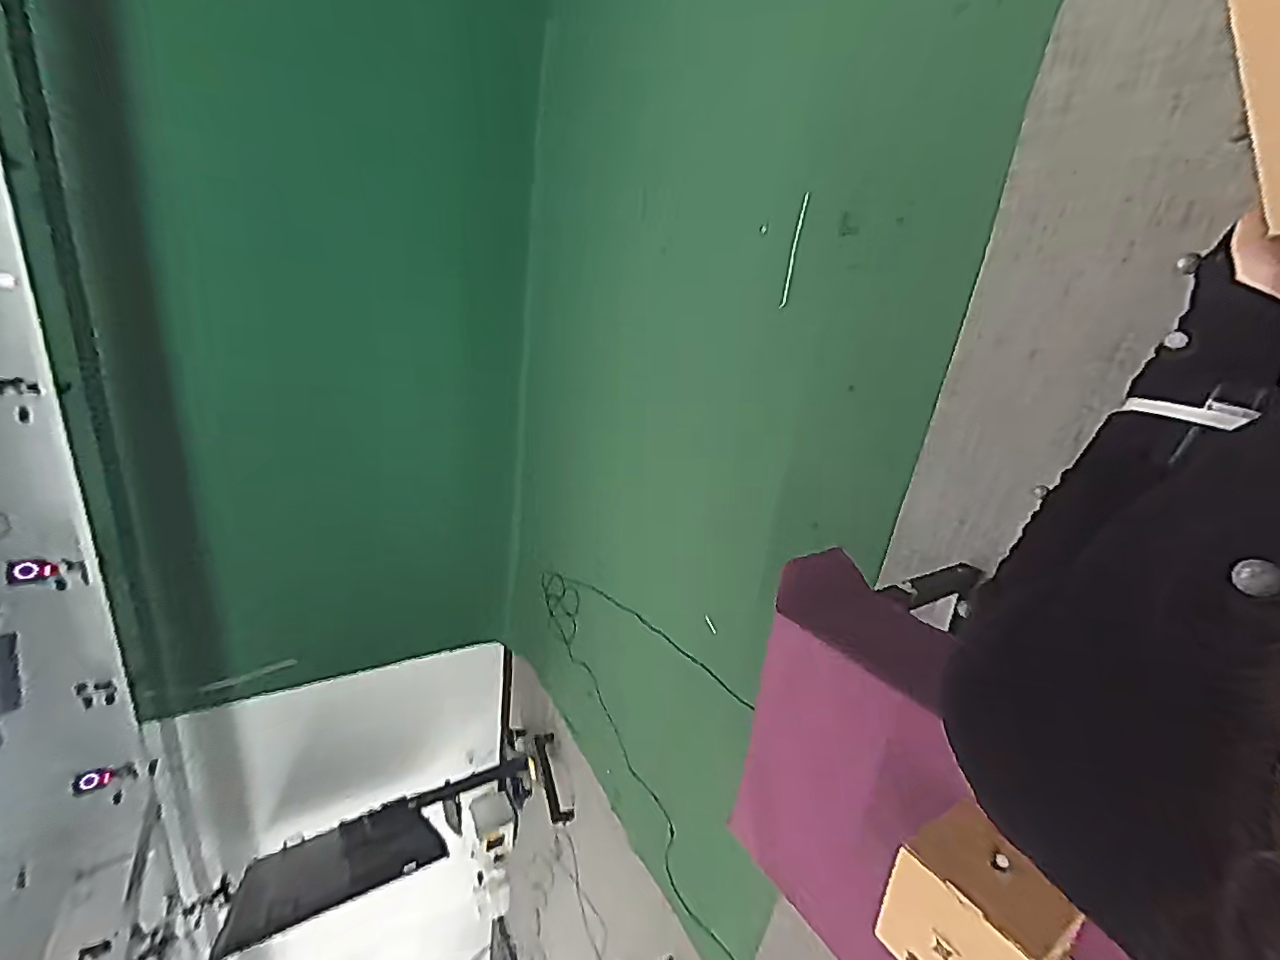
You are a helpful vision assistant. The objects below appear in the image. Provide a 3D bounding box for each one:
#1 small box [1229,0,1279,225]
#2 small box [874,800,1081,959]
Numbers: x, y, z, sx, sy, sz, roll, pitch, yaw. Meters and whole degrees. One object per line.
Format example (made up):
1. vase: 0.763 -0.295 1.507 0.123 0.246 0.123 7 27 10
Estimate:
1. small box: 0.437 -0.230 0.265 0.179 0.176 0.168 -8 90 54
2. small box: 0.457 0.584 0.736 0.168 0.176 0.179 29 118 52
